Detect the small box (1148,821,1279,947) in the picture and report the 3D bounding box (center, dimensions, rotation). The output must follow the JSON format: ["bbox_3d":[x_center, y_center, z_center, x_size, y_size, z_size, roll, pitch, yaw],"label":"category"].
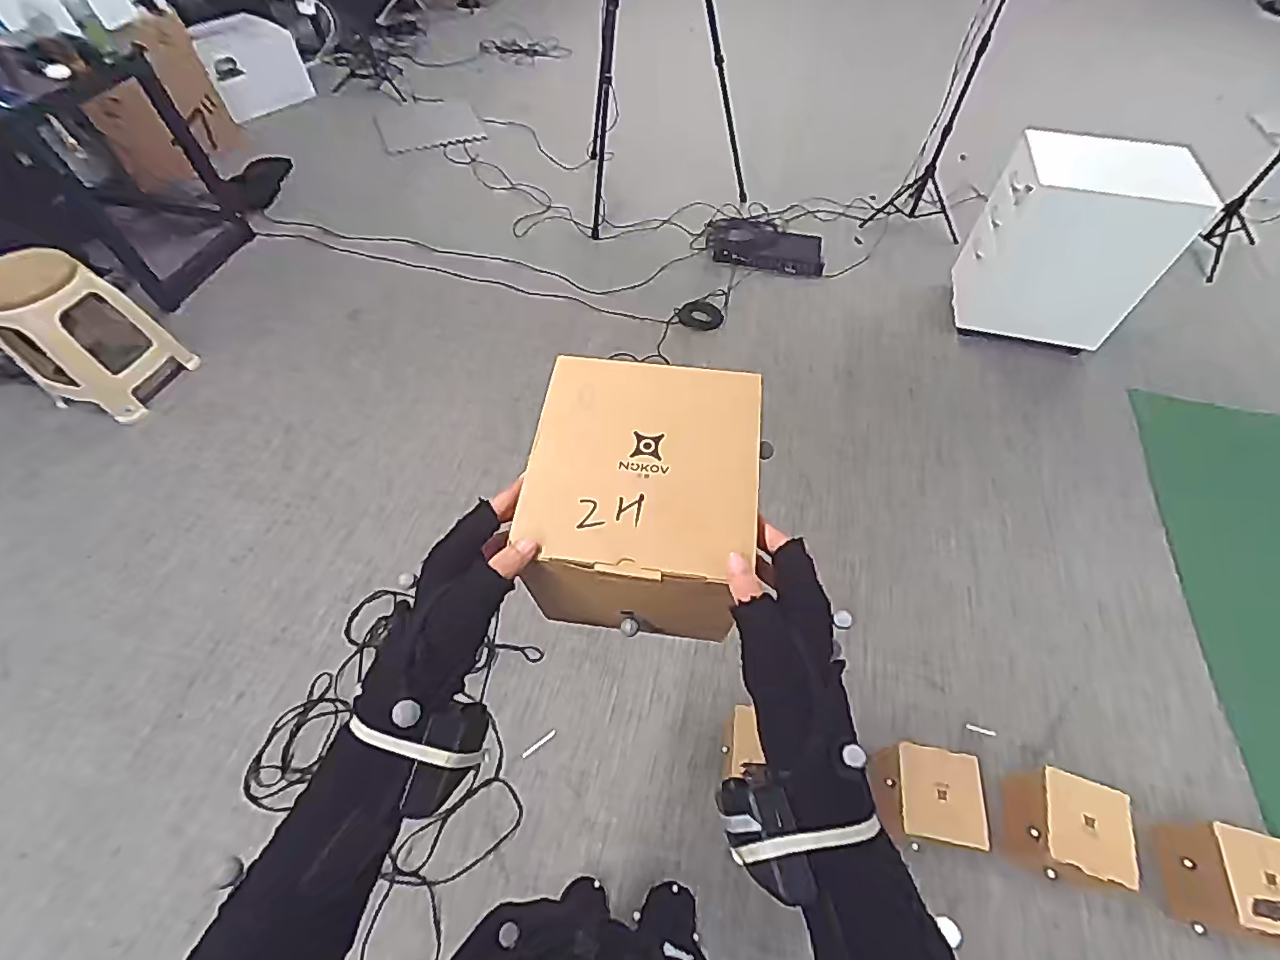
[{"bbox_3d":[1.209,0.829,1.109,0.168,0.176,0.179,13,55,8],"label":"small box"}]

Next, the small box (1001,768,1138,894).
[{"bbox_3d":[0.905,0.750,1.161,0.168,0.176,0.179,17,57,11],"label":"small box"}]

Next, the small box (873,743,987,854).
[{"bbox_3d":[0.625,0.702,1.191,0.168,0.176,0.179,8,57,7],"label":"small box"}]
